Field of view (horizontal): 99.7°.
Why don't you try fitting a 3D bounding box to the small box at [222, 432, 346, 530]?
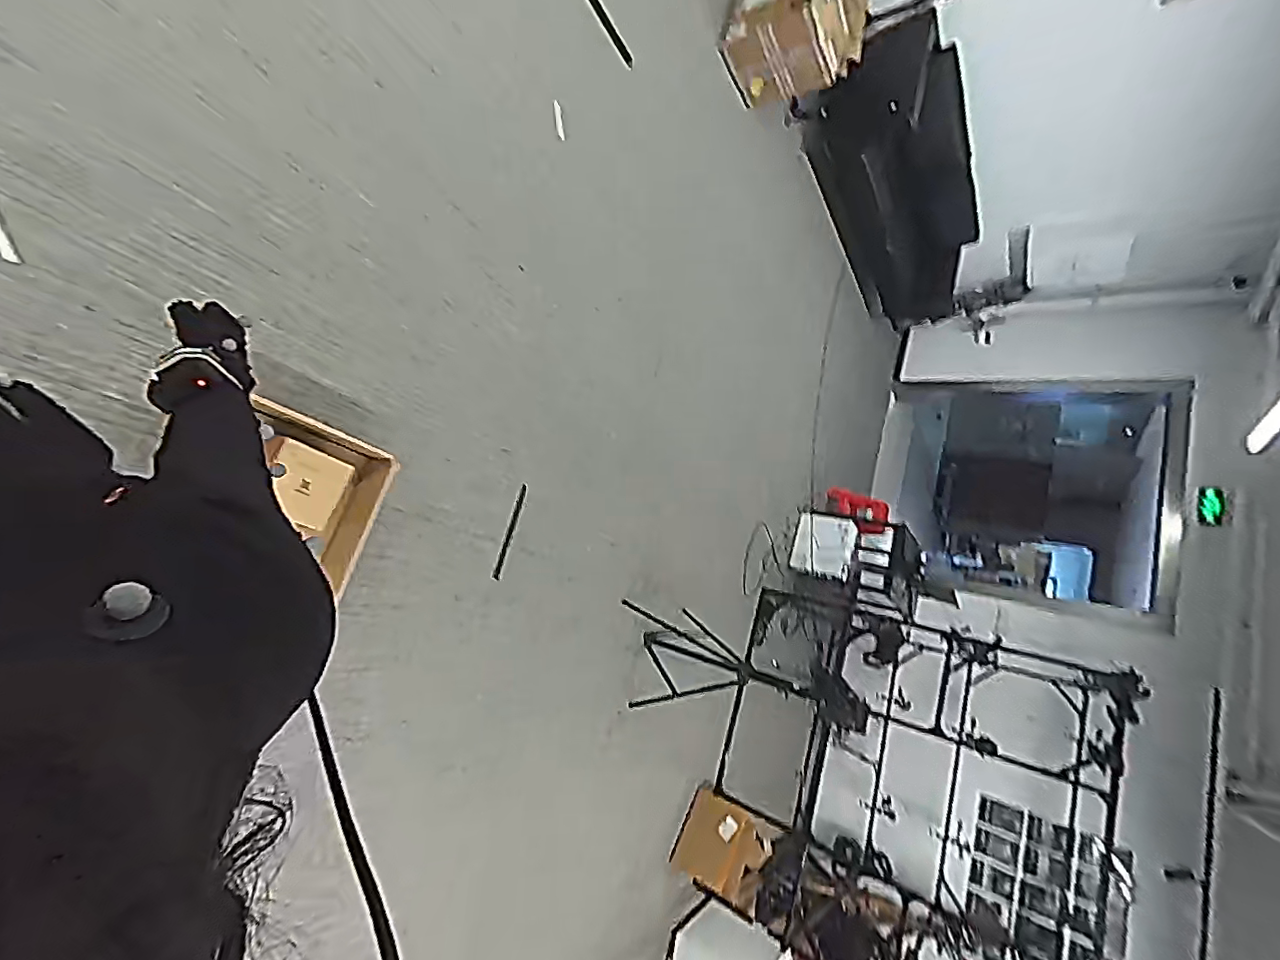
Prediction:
[{"bbox_3d":[-0.849,0.000,1.286,0.168,0.176,0.179,39,65,-50],"label":"small box"}]
